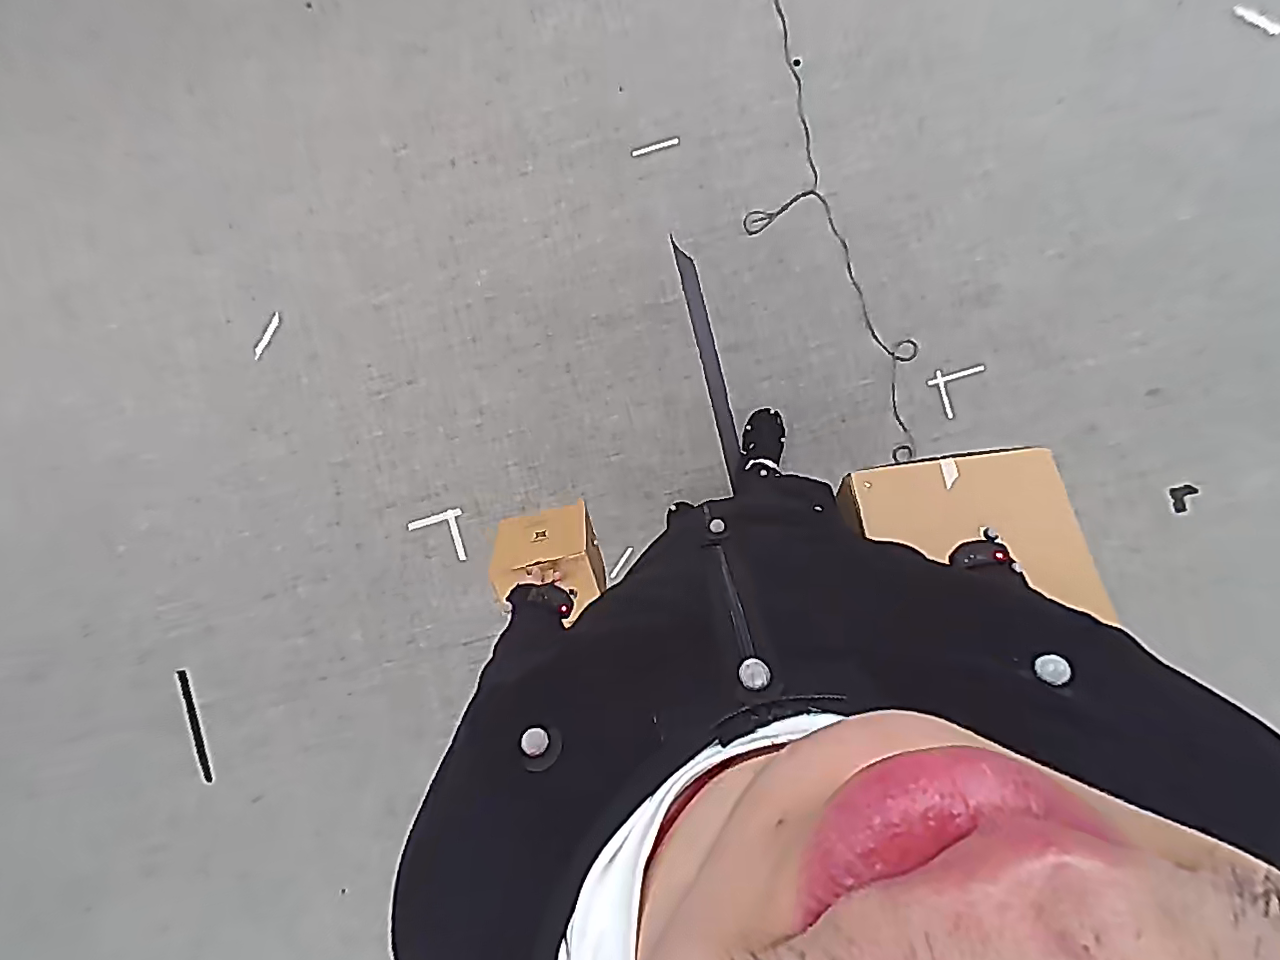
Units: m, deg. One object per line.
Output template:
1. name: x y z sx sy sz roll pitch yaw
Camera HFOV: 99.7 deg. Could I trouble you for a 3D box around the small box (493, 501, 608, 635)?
1. small box: -0.159 0.167 1.007 0.168 0.179 0.176 -13 116 -1
